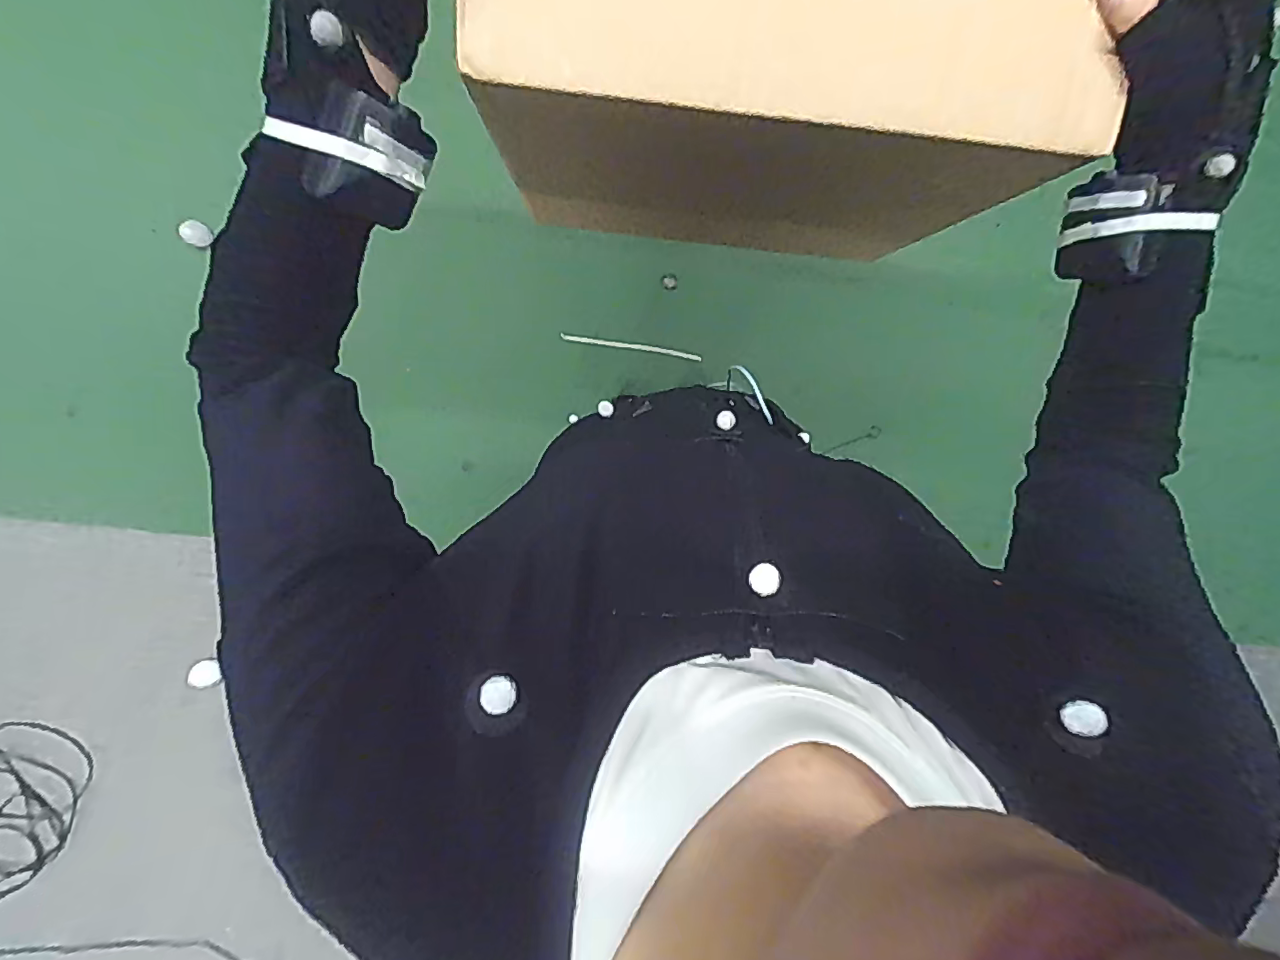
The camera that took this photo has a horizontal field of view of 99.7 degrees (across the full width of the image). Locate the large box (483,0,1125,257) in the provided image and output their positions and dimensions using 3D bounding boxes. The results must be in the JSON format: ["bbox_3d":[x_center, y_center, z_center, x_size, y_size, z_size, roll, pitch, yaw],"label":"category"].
[{"bbox_3d":[0.100,-0.401,0.461,0.408,0.320,0.320,4,100,-5],"label":"large box"}]
